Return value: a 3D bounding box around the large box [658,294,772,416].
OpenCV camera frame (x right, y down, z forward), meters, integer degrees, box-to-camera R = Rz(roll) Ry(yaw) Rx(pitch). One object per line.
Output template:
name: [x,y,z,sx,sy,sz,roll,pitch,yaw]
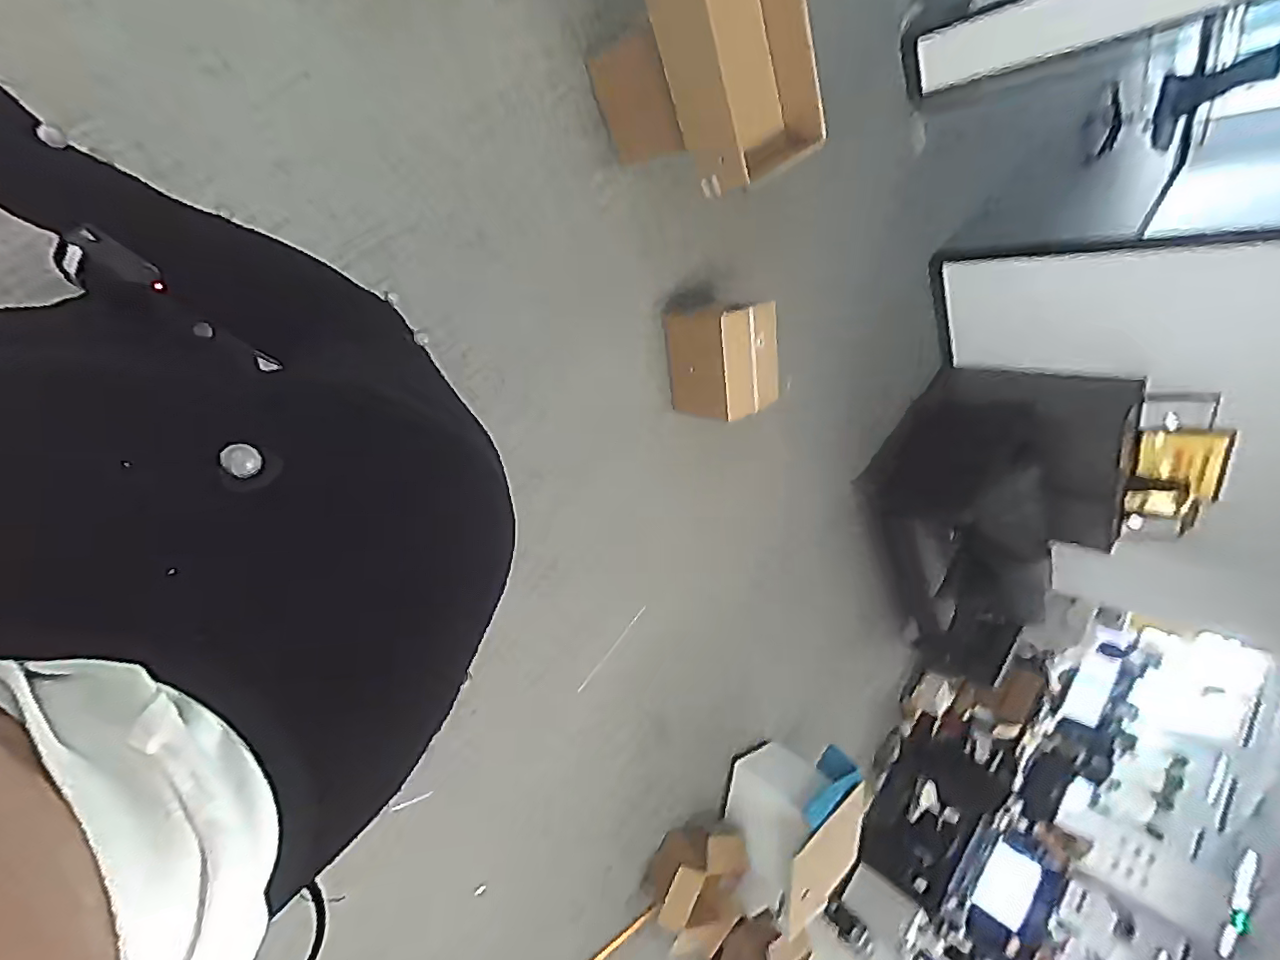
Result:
large box: [0.303,-0.510,2.168,0.320,0.320,0.408,-27,120,-34]
